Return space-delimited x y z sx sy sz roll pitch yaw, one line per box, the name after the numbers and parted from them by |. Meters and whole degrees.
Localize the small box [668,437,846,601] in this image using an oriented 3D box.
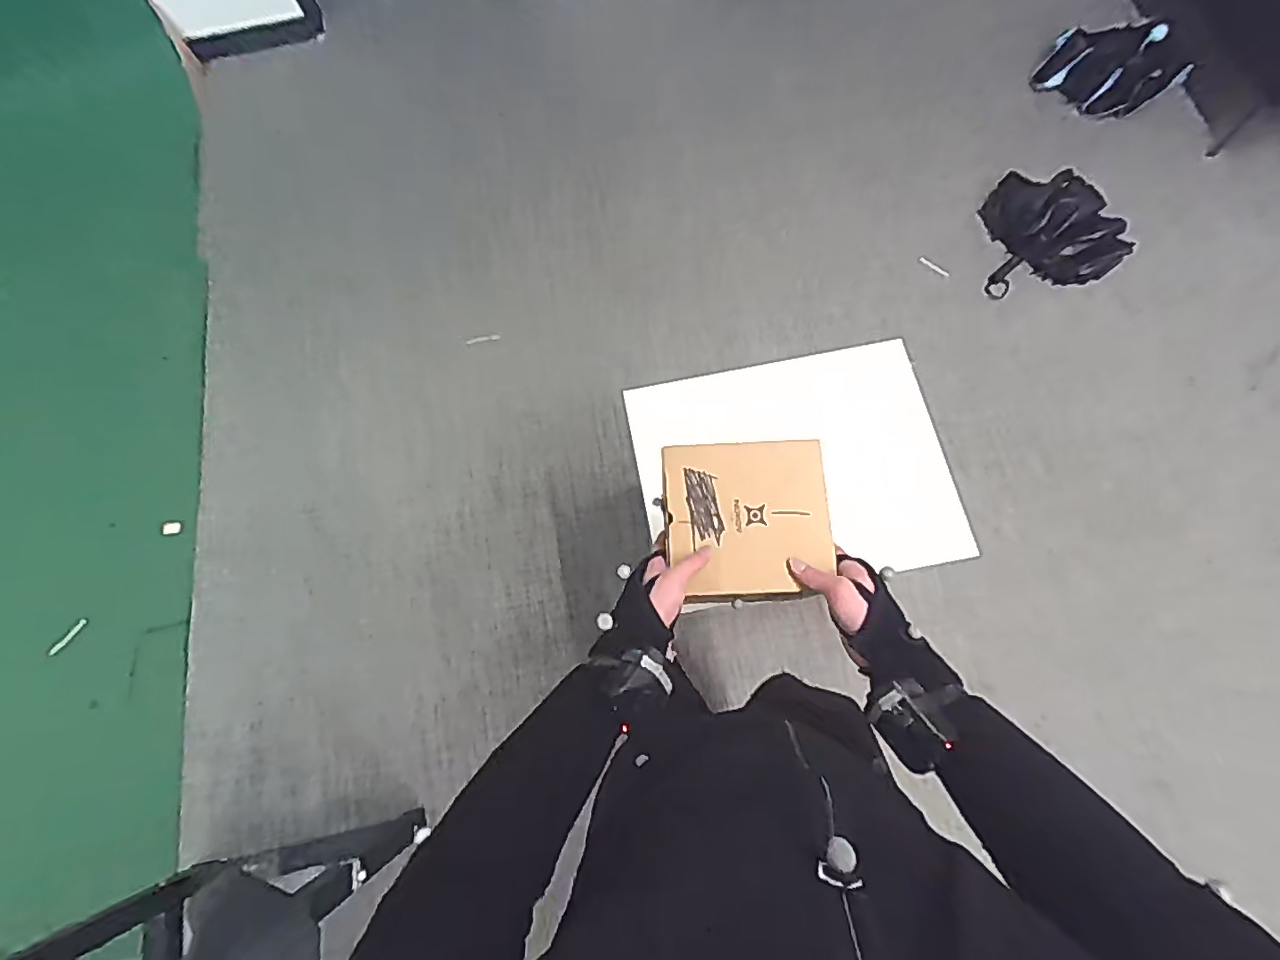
0.122 0.055 0.640 0.179 0.176 0.168 -1 75 0 | small box
